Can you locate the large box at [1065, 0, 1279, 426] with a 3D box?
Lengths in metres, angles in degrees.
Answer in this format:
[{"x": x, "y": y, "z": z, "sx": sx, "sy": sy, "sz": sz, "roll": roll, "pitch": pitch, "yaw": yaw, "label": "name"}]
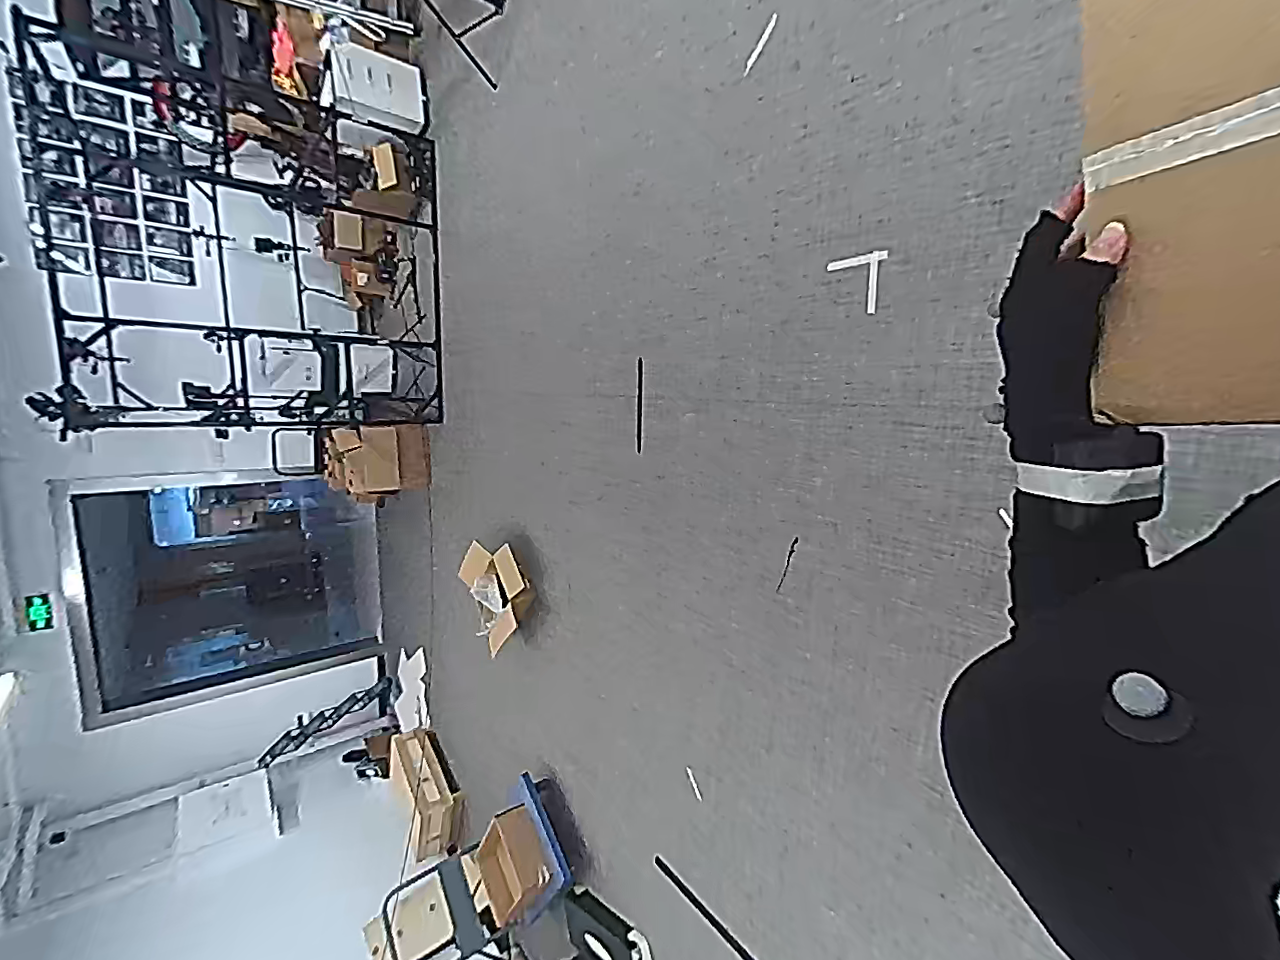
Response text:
[{"x": 0.505, "y": -0.214, "z": 0.249, "sx": 0.408, "sy": 0.320, "sz": 0.320, "roll": 6, "pitch": 108, "yaw": 58, "label": "large box"}]
